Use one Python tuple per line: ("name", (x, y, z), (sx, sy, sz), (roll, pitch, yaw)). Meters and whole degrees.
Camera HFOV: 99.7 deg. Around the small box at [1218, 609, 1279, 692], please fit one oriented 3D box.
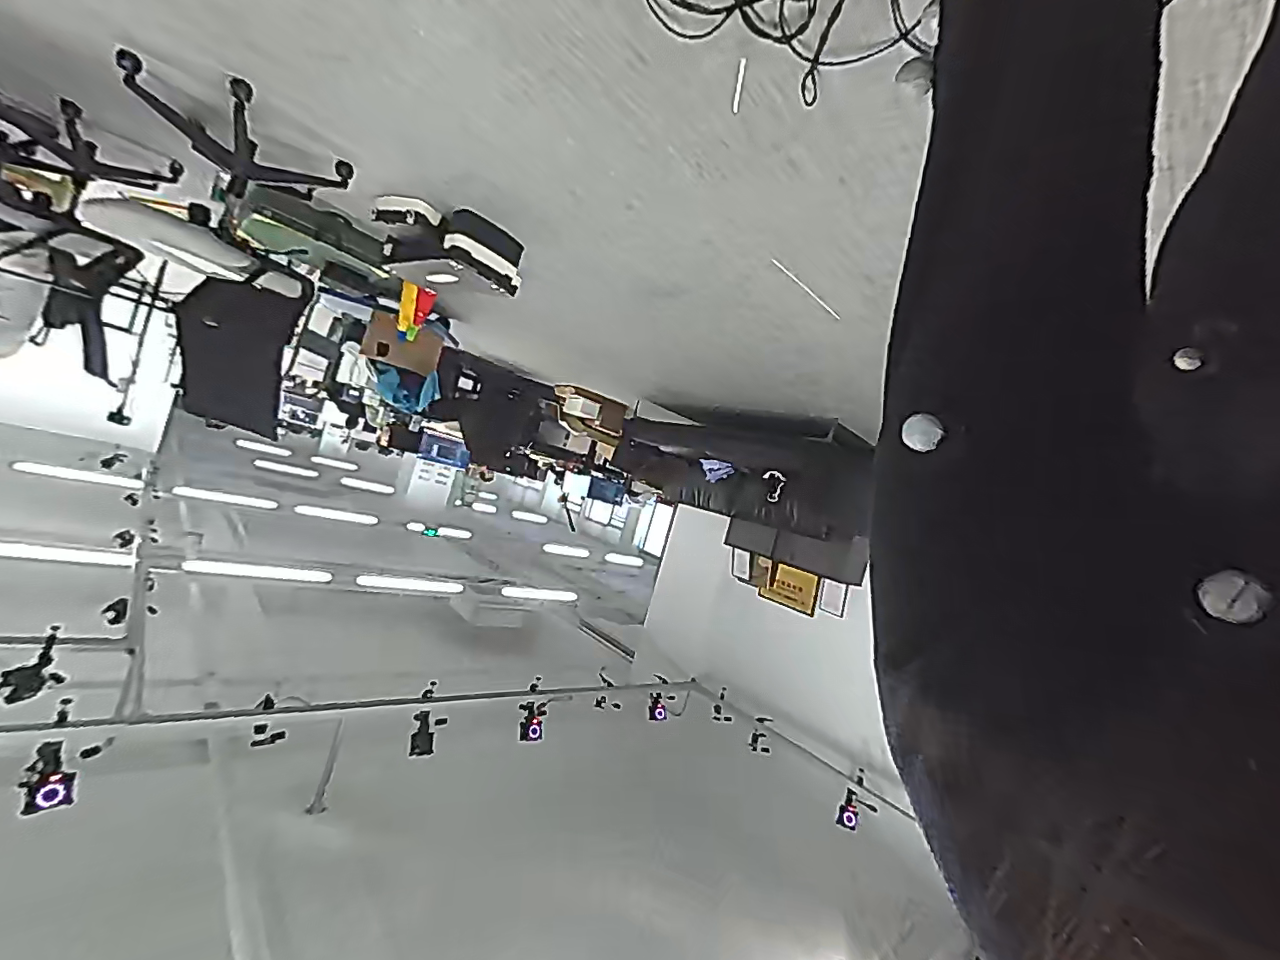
("small box", (1.567, 0.428, 1.333), (0.179, 0.176, 0.168), (16, 179, -41))
